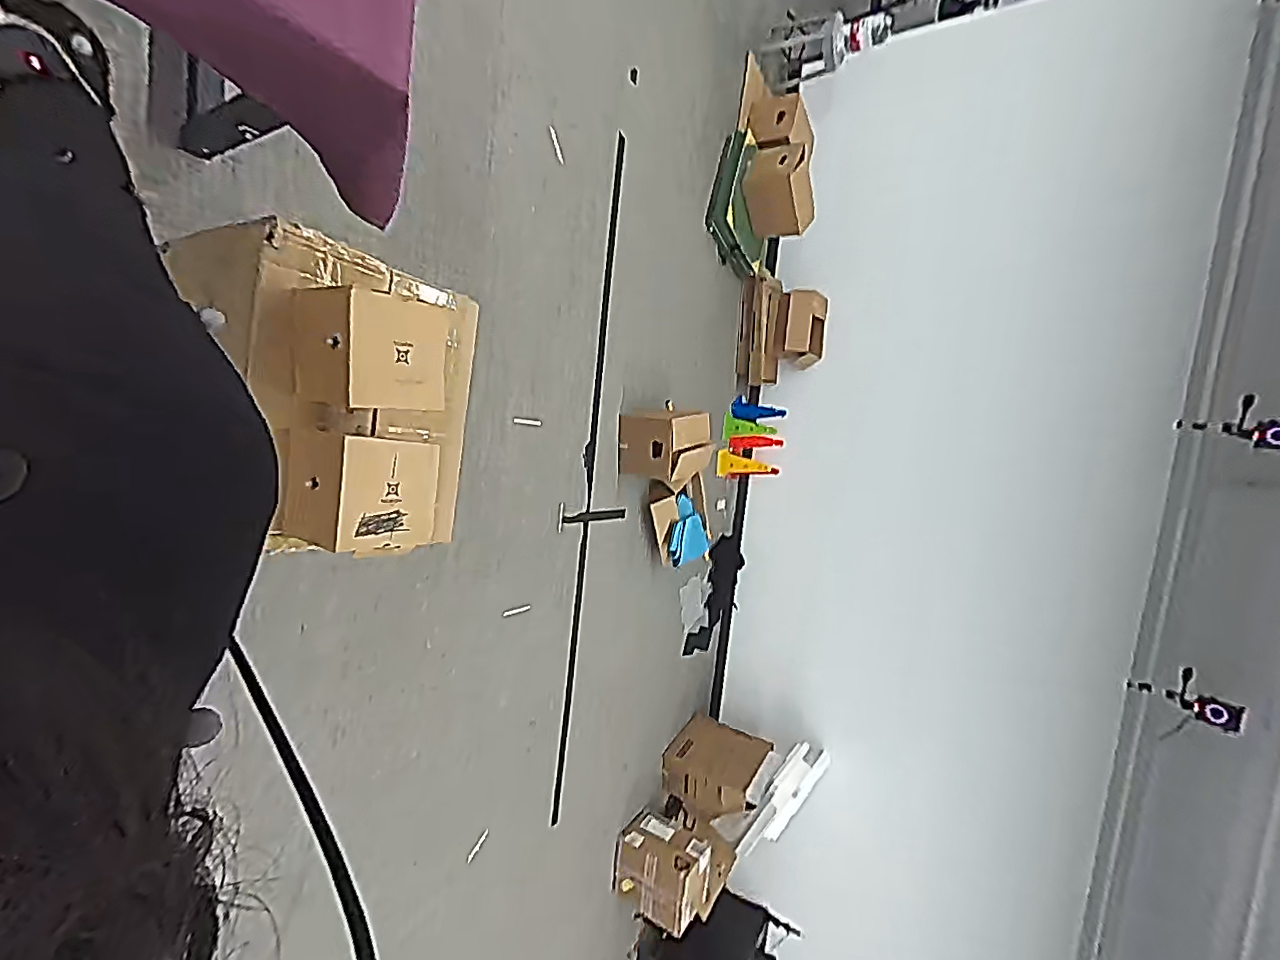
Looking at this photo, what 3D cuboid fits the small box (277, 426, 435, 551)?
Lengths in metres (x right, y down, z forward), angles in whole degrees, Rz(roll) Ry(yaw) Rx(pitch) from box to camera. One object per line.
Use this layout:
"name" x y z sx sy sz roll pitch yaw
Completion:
"small box" -0.467 0.011 0.888 0.168 0.176 0.179 3 93 -58

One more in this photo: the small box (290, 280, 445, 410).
"small box" -0.440 -0.211 0.875 0.168 0.176 0.179 -6 104 -56
